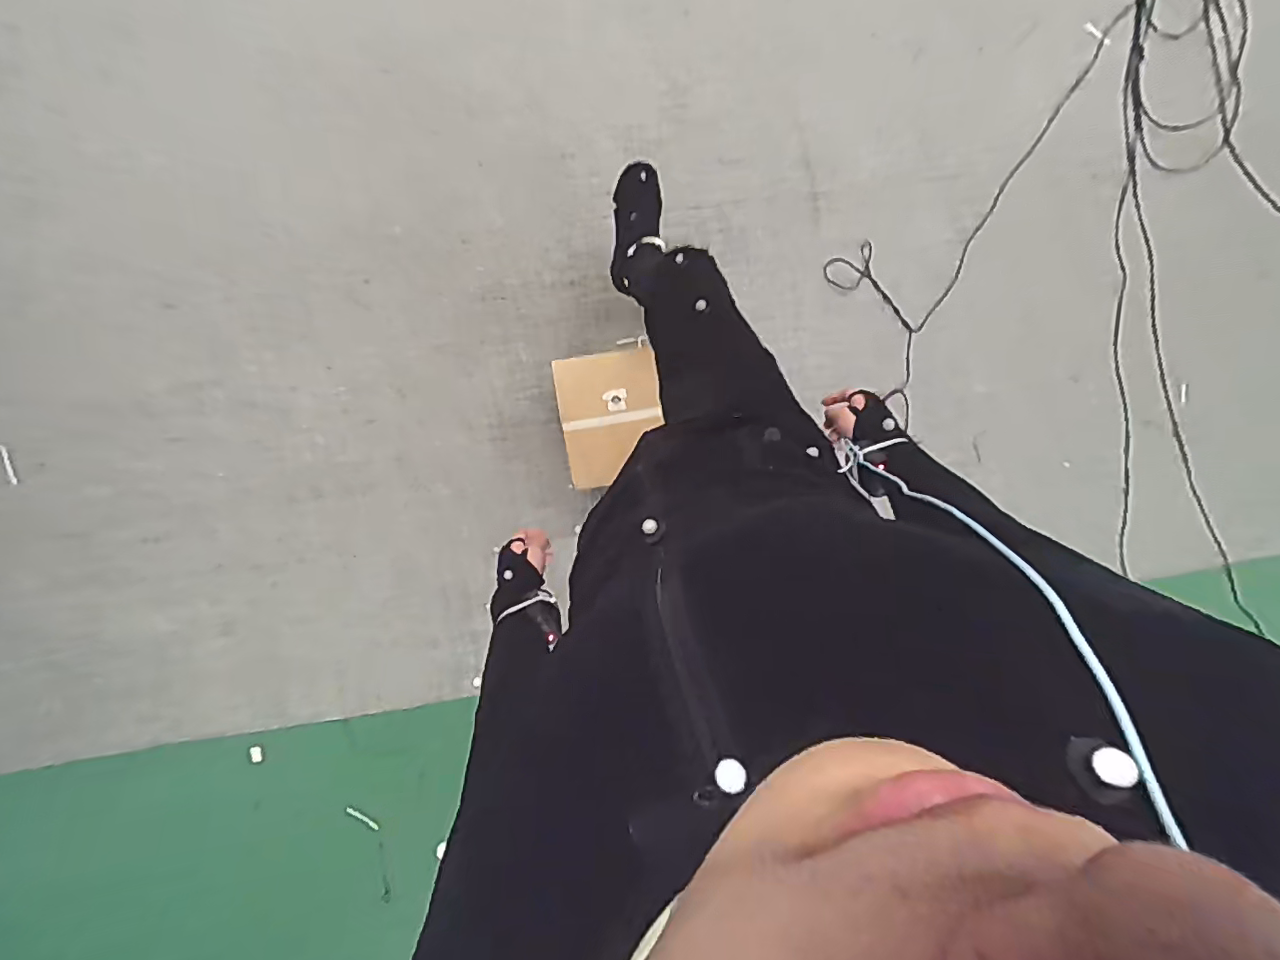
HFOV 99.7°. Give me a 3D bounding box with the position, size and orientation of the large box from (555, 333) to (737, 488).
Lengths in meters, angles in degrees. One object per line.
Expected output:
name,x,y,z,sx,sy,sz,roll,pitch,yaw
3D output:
large box,0.010,-0.188,1.442,0.408,0.320,0.320,-10,98,-2
